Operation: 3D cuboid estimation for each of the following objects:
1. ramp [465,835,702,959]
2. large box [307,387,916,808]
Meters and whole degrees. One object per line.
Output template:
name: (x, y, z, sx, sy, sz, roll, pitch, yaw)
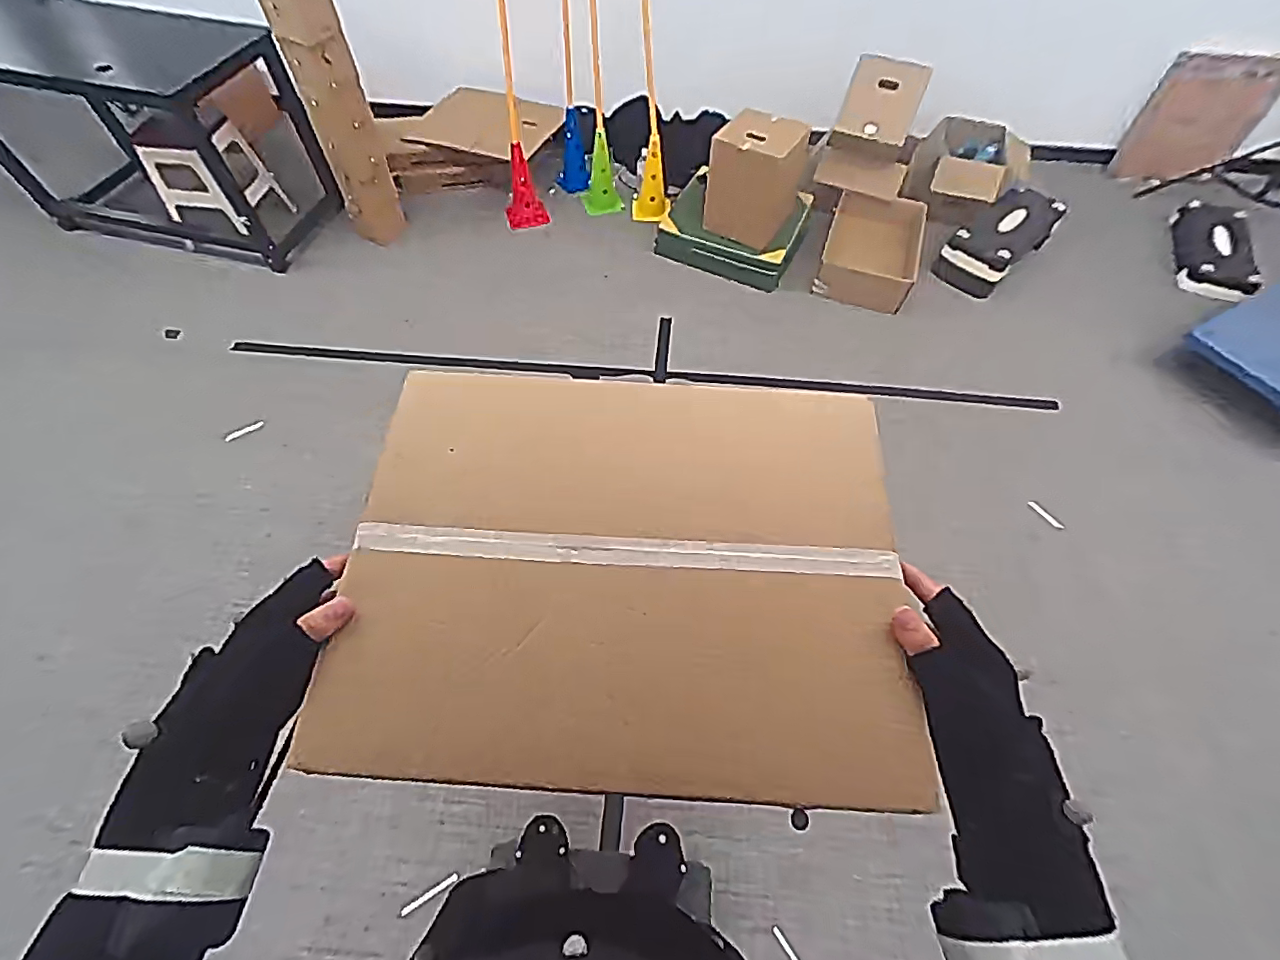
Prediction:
ramp: (-0.146, 1.274, 1.022, 0.509, 0.206, 0.991, 5, 58, -1)
large box: (-0.013, 0.129, 0.547, 0.408, 0.320, 0.320, 4, 62, 0)
